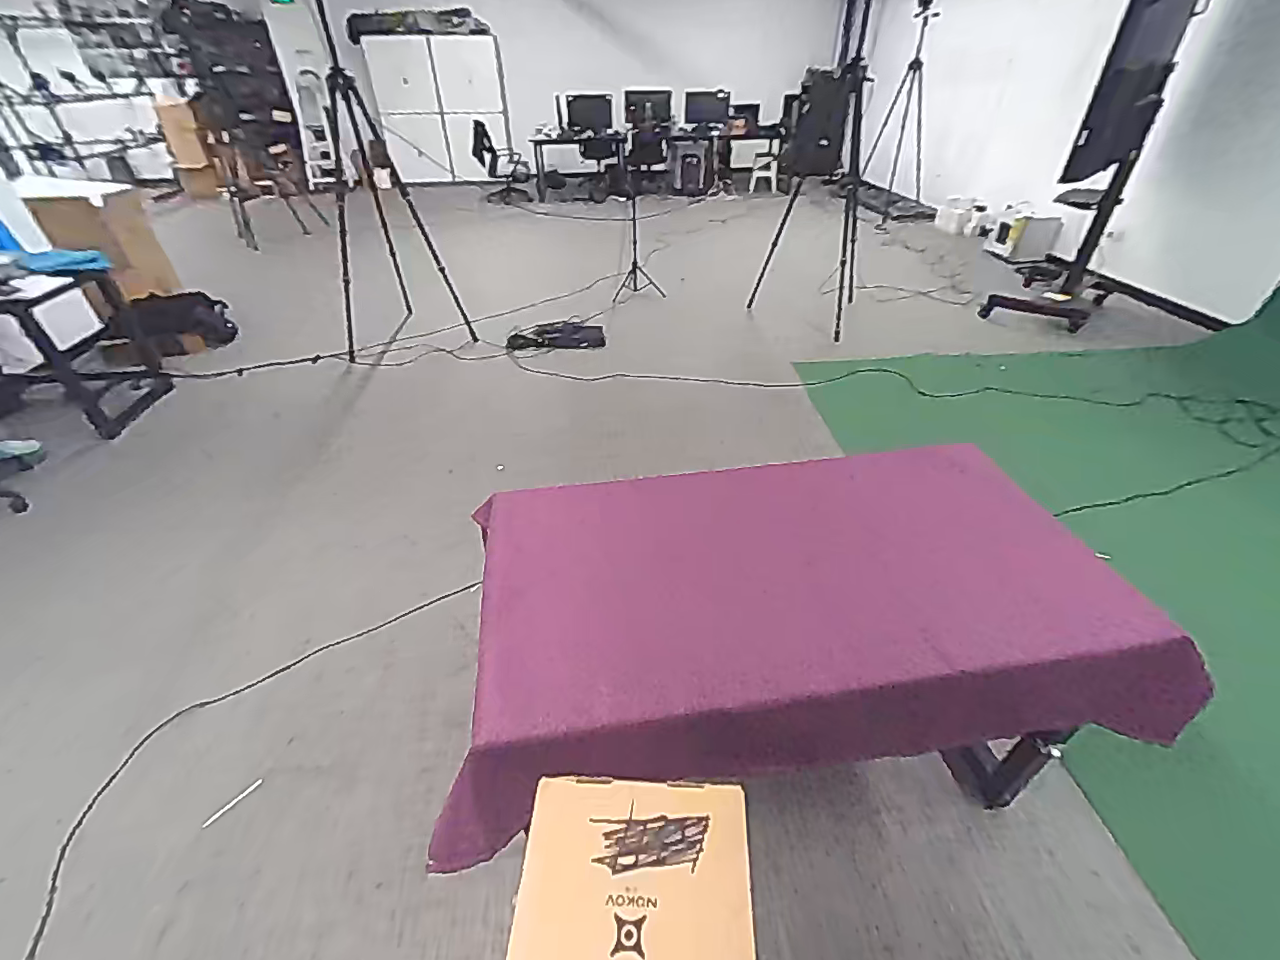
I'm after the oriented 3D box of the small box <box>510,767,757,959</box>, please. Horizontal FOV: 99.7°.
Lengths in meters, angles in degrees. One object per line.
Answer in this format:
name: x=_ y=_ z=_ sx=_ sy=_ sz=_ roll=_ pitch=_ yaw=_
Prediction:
small box: x=0.002 y=0.355 z=0.430 sx=0.168 sy=0.176 sz=0.179 roll=-1 pitch=43 yaw=6
